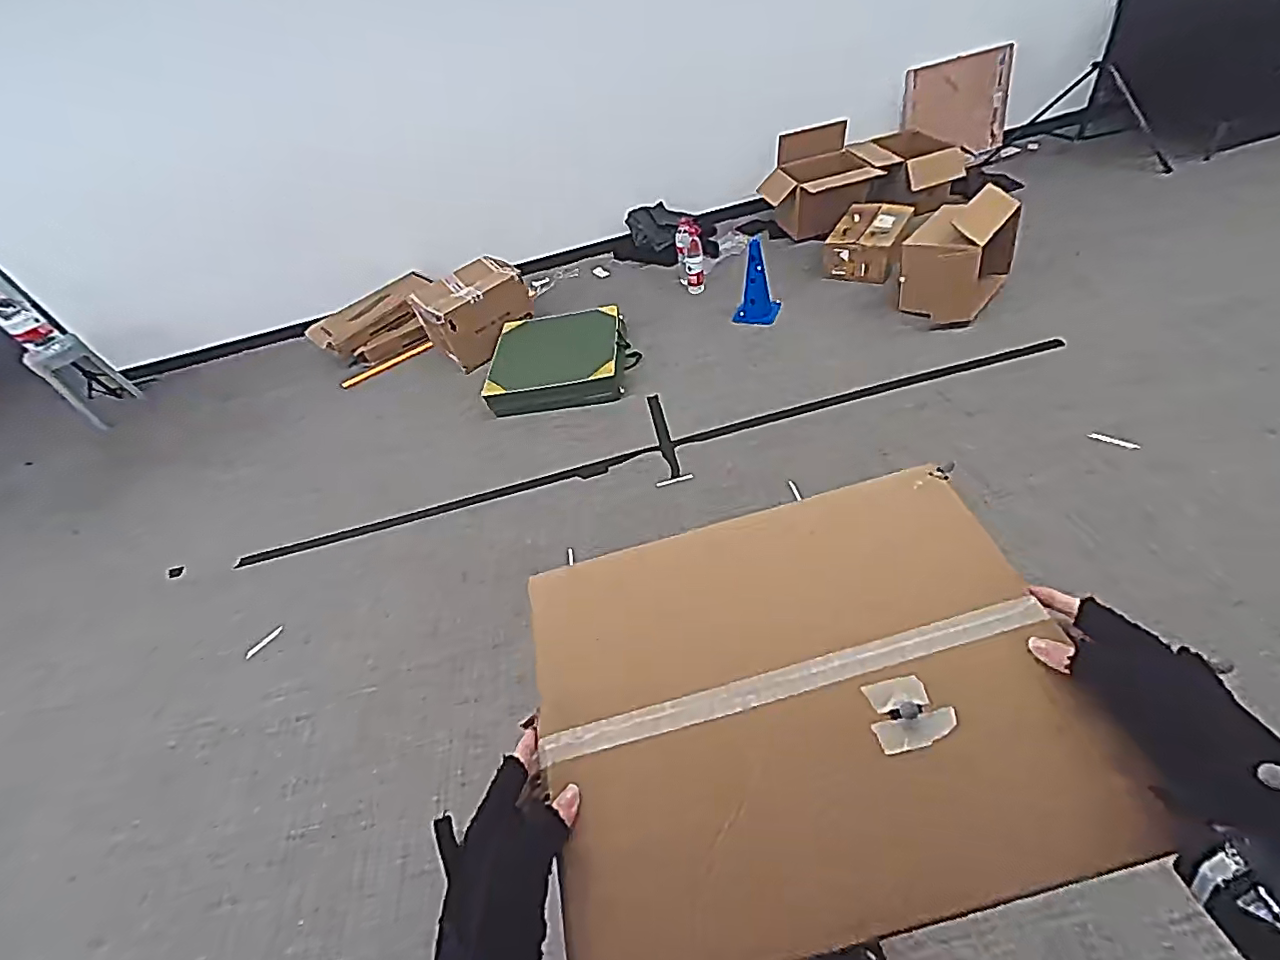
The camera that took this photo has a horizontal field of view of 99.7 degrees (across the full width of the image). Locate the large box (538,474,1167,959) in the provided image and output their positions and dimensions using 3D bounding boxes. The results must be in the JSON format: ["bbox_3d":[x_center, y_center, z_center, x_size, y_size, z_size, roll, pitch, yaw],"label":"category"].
[{"bbox_3d":[0.146,0.253,0.556,0.408,0.320,0.320,-16,52,0],"label":"large box"}]
